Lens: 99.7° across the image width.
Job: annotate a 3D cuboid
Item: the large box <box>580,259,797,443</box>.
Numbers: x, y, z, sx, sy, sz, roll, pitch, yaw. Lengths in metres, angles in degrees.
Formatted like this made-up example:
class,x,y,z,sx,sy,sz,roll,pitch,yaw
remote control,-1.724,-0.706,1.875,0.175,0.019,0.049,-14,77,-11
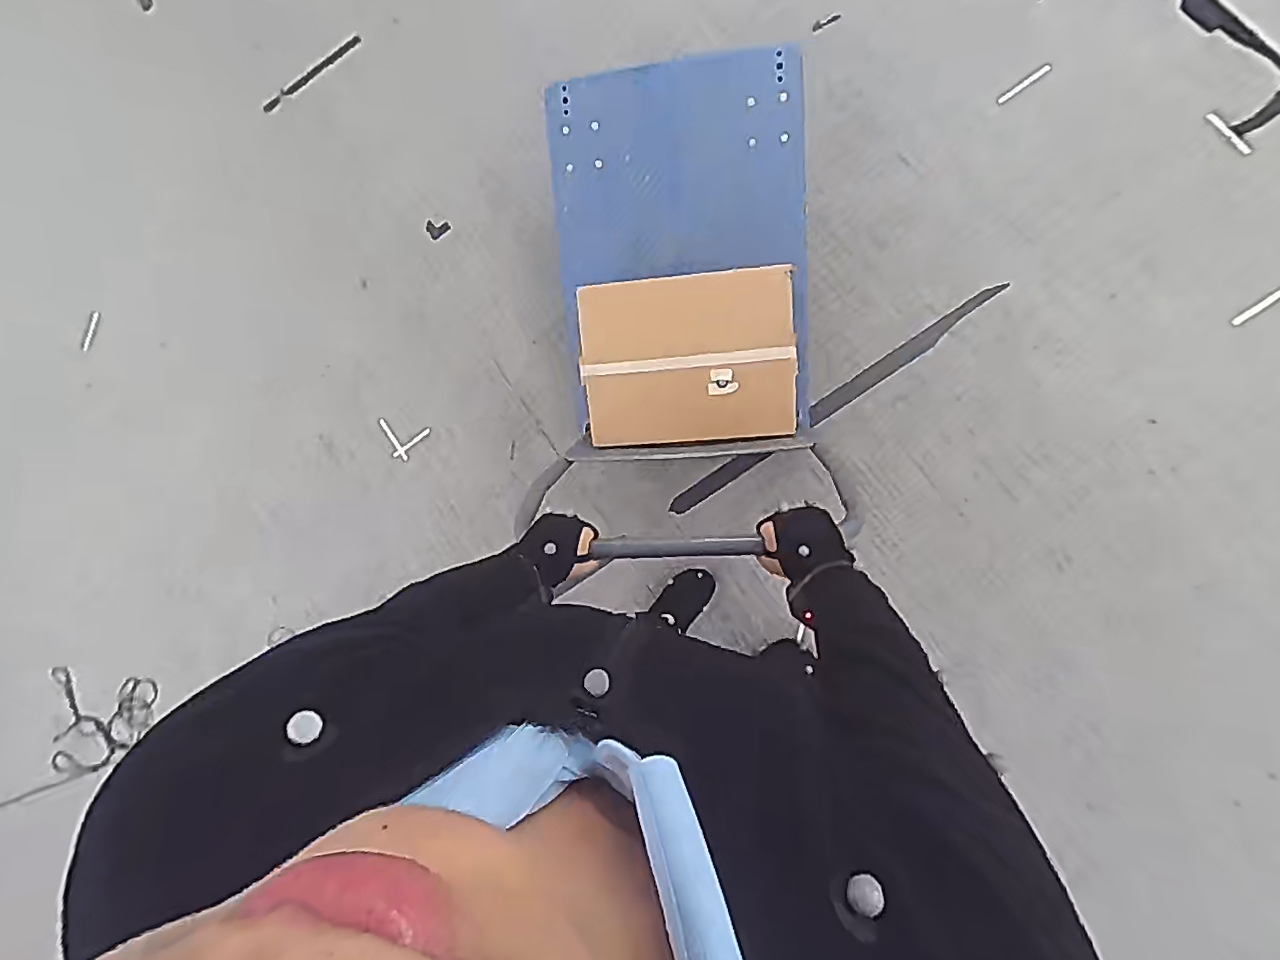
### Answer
class,x,y,z,sx,sy,sz,roll,pitch,yaw
large box,0.110,-0.273,1.196,0.408,0.320,0.320,-4,103,7
